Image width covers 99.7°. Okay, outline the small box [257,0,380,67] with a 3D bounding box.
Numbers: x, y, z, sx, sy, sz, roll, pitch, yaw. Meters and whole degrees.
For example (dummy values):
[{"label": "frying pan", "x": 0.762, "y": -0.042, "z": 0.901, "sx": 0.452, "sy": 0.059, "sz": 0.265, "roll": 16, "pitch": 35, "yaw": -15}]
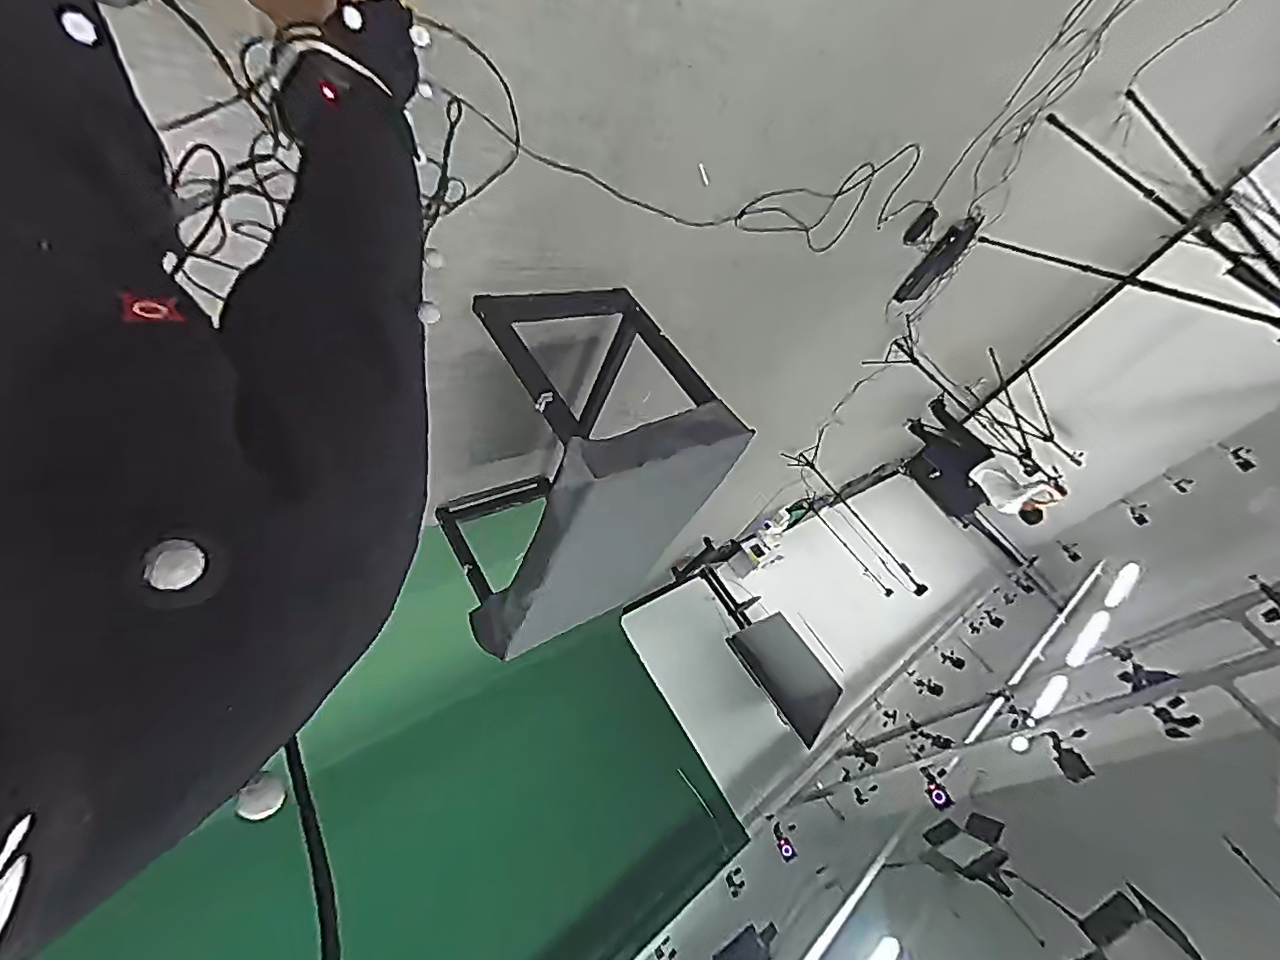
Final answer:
[{"label": "small box", "x": -0.312, "y": -0.535, "z": 0.493, "sx": 0.168, "sy": 0.179, "sz": 0.176, "roll": -42, "pitch": 133, "yaw": 23}]
